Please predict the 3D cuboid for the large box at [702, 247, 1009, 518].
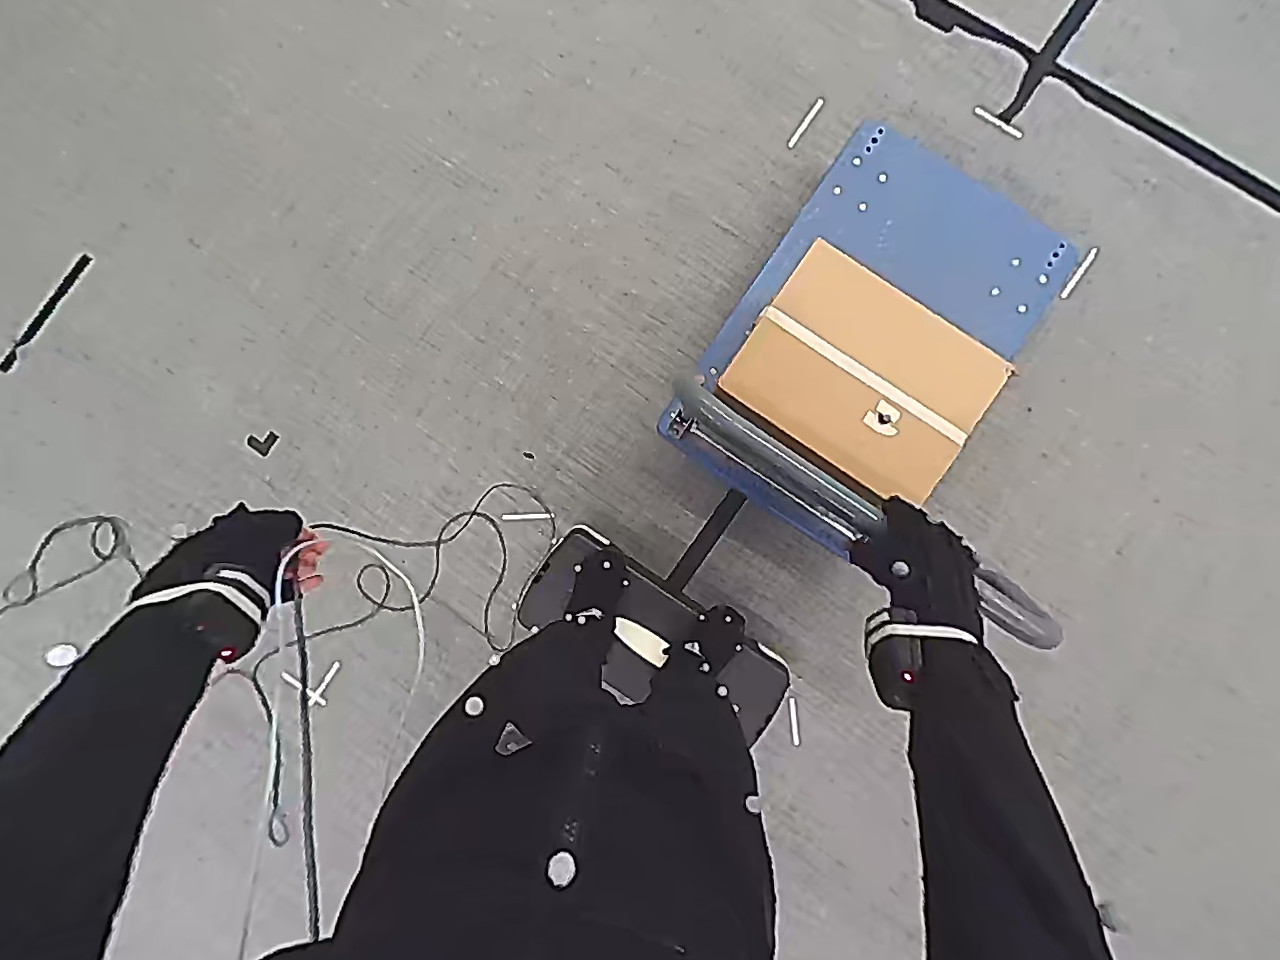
[{"bbox_3d":[0.379,-0.166,1.065,0.408,0.320,0.320,35,91,2],"label":"large box"}]
